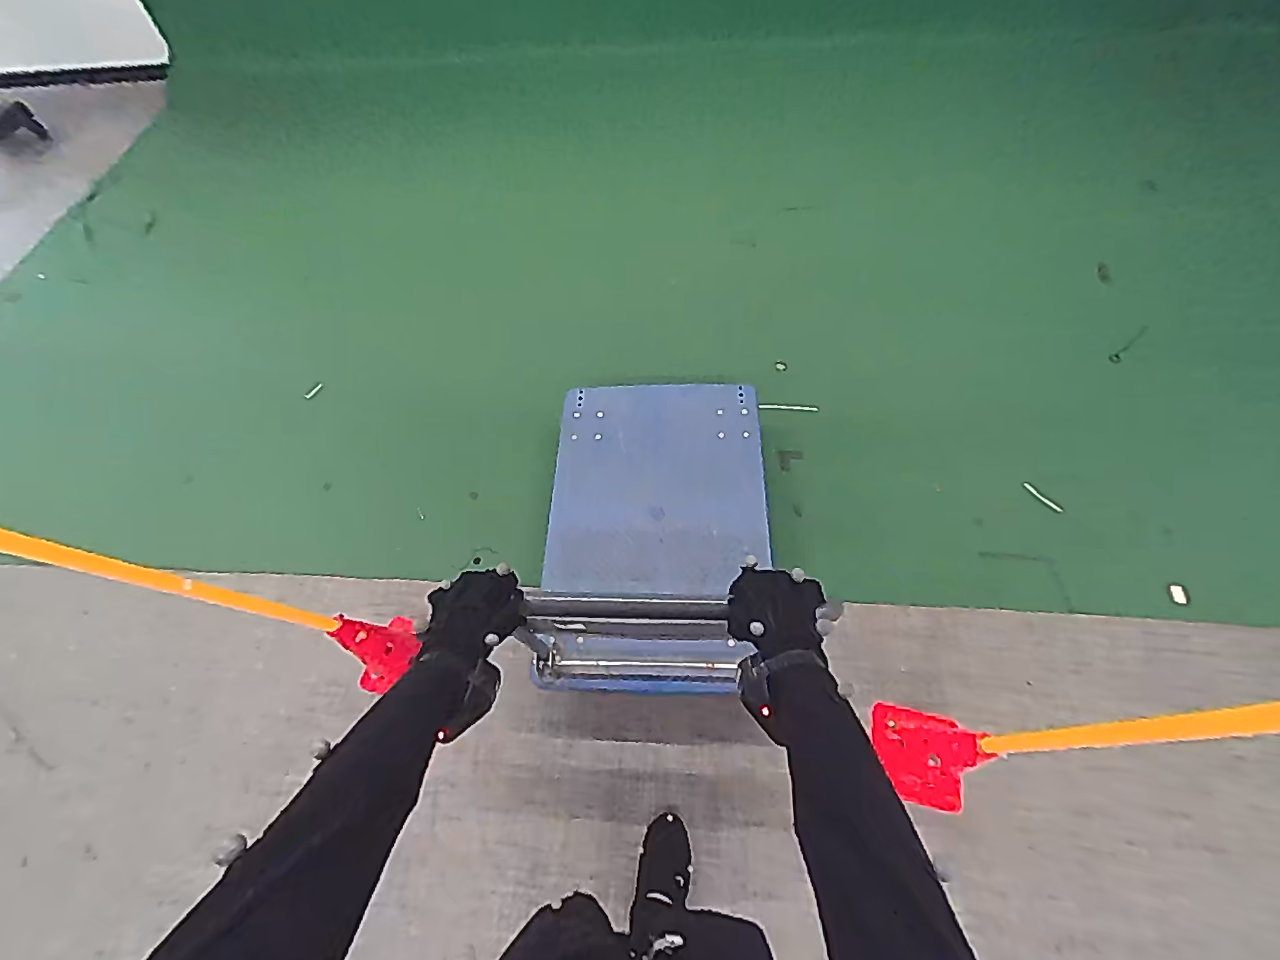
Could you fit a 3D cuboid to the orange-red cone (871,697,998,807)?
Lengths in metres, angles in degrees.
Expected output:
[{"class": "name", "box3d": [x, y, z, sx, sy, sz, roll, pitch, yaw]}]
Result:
[{"class": "orange-red cone", "box3d": [0.629, 0.543, 1.104, 0.198, 0.360, 0.199, 11, 63, 12]}]
